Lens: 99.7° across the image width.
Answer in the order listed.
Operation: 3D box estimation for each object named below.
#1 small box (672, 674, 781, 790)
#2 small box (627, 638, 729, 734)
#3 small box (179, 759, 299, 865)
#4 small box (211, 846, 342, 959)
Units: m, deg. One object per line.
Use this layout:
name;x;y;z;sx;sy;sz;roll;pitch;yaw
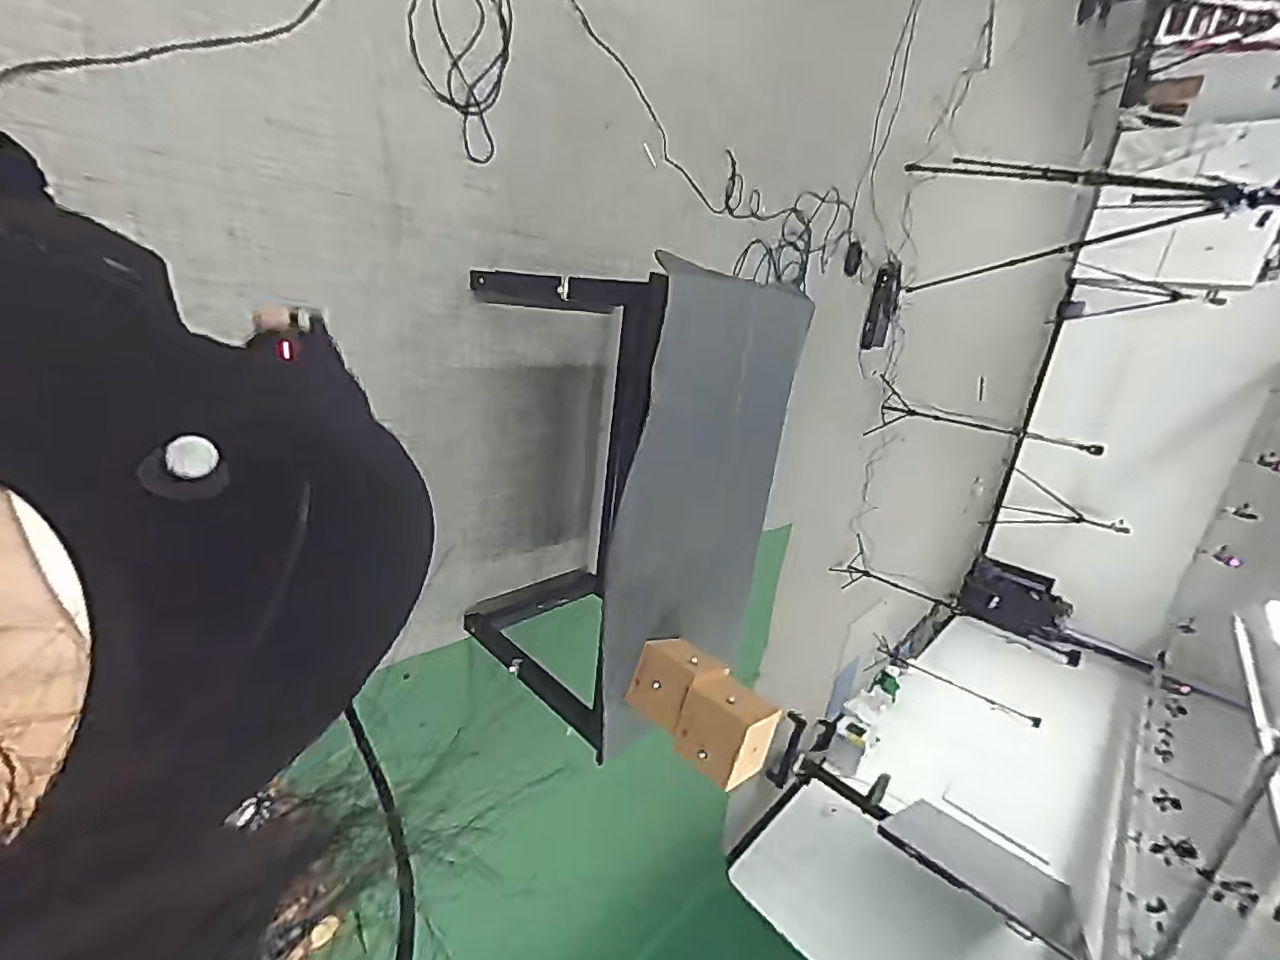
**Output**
small box;0.202;0.585;1.281;0.179;0.176;0.168;10;101;-52
small box;0.095;0.519;1.386;0.179;0.176;0.168;18;94;-52
small box;-1.055;0.866;1.420;0.168;0.176;0.179;-53;138;-18
small box;-0.819;0.978;1.220;0.168;0.176;0.179;-38;132;-31
